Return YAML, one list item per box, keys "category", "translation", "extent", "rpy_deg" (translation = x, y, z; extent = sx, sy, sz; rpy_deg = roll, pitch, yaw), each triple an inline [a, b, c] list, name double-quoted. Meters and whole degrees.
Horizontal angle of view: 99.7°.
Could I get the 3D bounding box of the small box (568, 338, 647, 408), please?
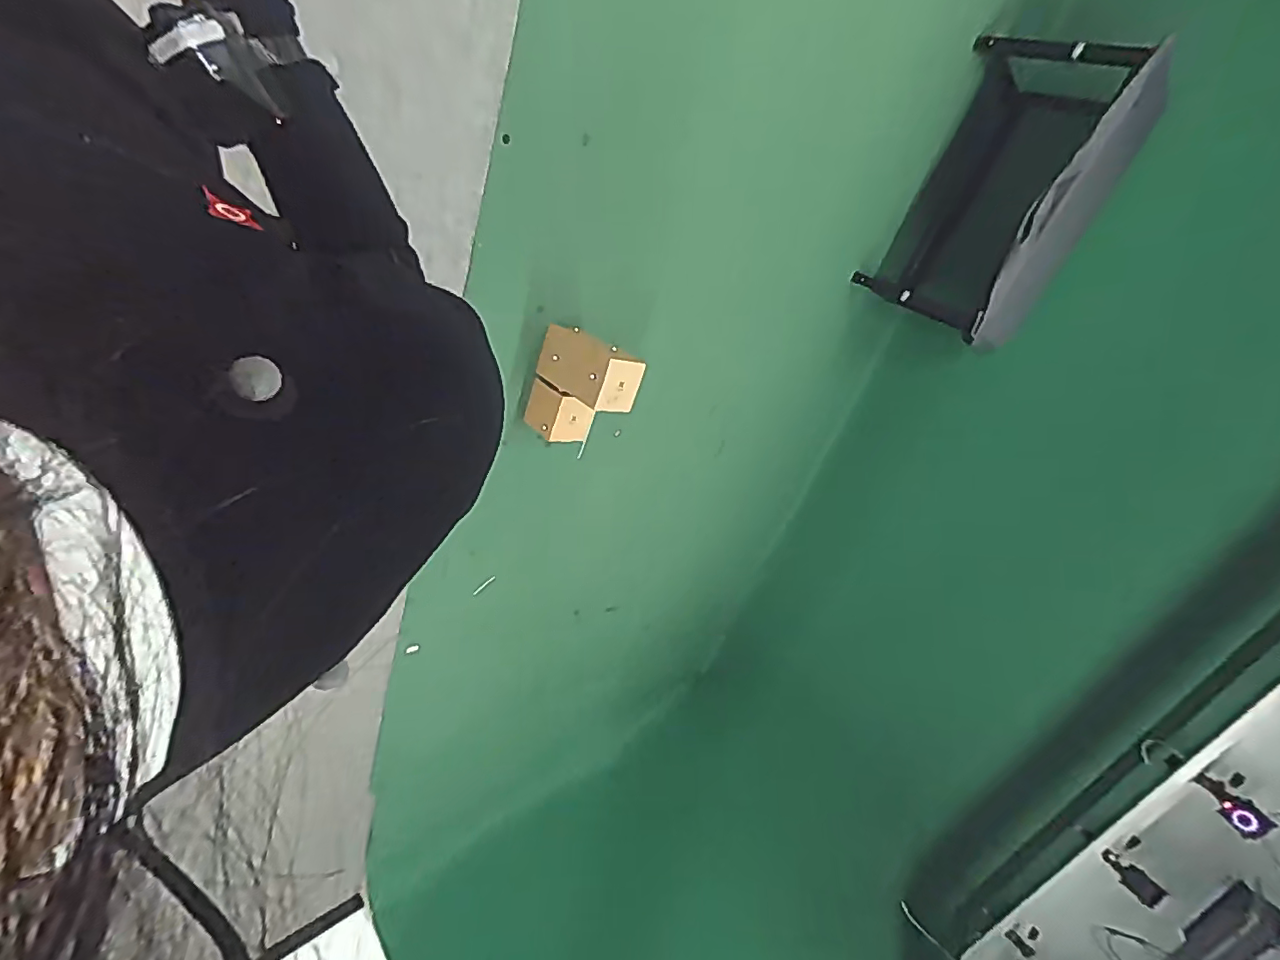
- category: "small box"
  translation: [-0.113, -0.350, 1.766]
  extent: [0.168, 0.176, 0.179]
  rpy_deg: [-5, 124, -47]
